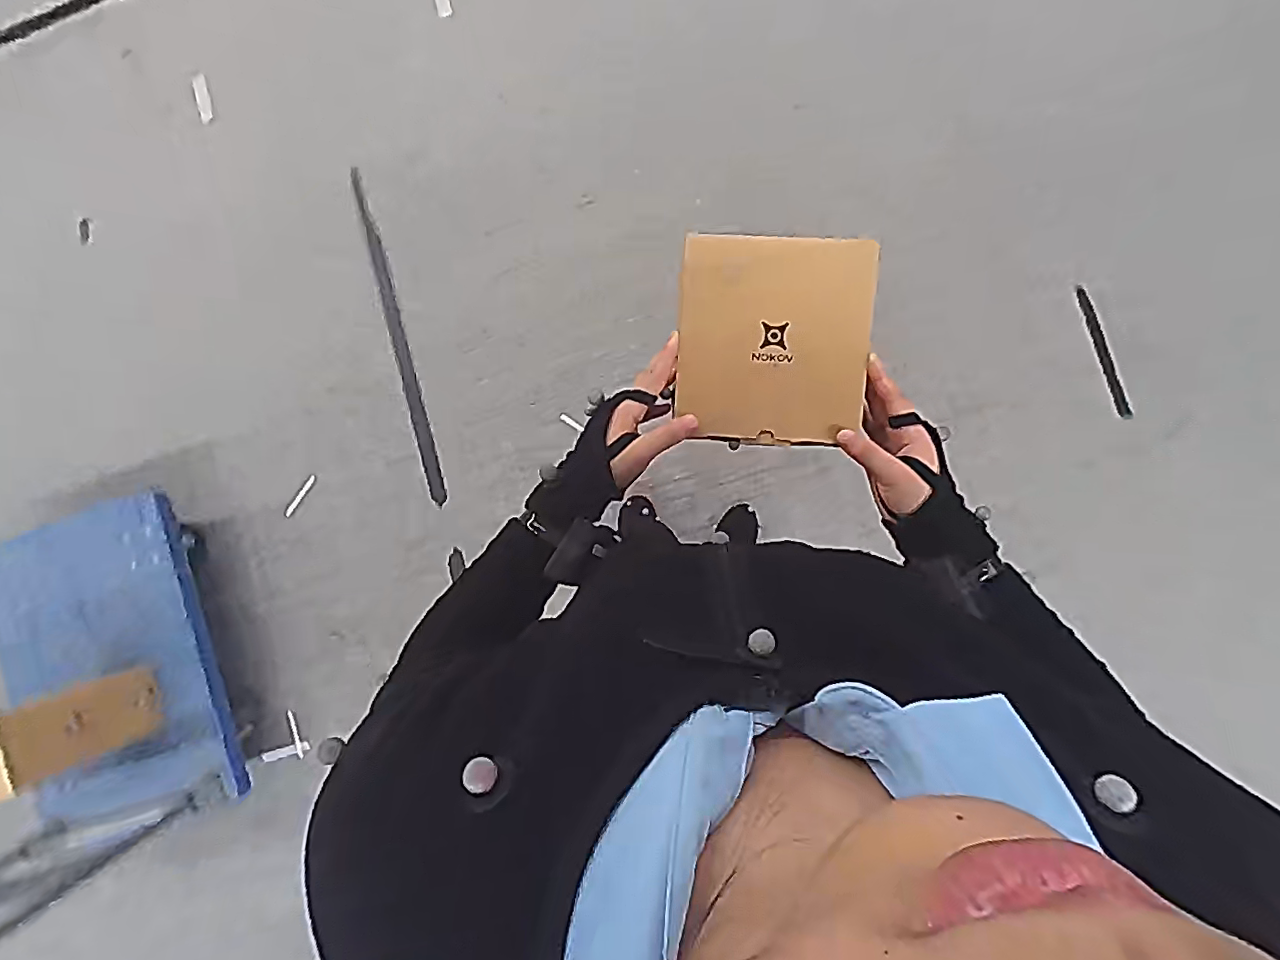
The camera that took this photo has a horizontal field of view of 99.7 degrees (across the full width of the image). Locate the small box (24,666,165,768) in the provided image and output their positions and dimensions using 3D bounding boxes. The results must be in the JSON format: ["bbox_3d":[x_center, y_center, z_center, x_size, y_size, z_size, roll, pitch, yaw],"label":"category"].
[{"bbox_3d":[-1.356,0.585,1.353,0.179,0.176,0.168,-14,88,4],"label":"small box"}]
